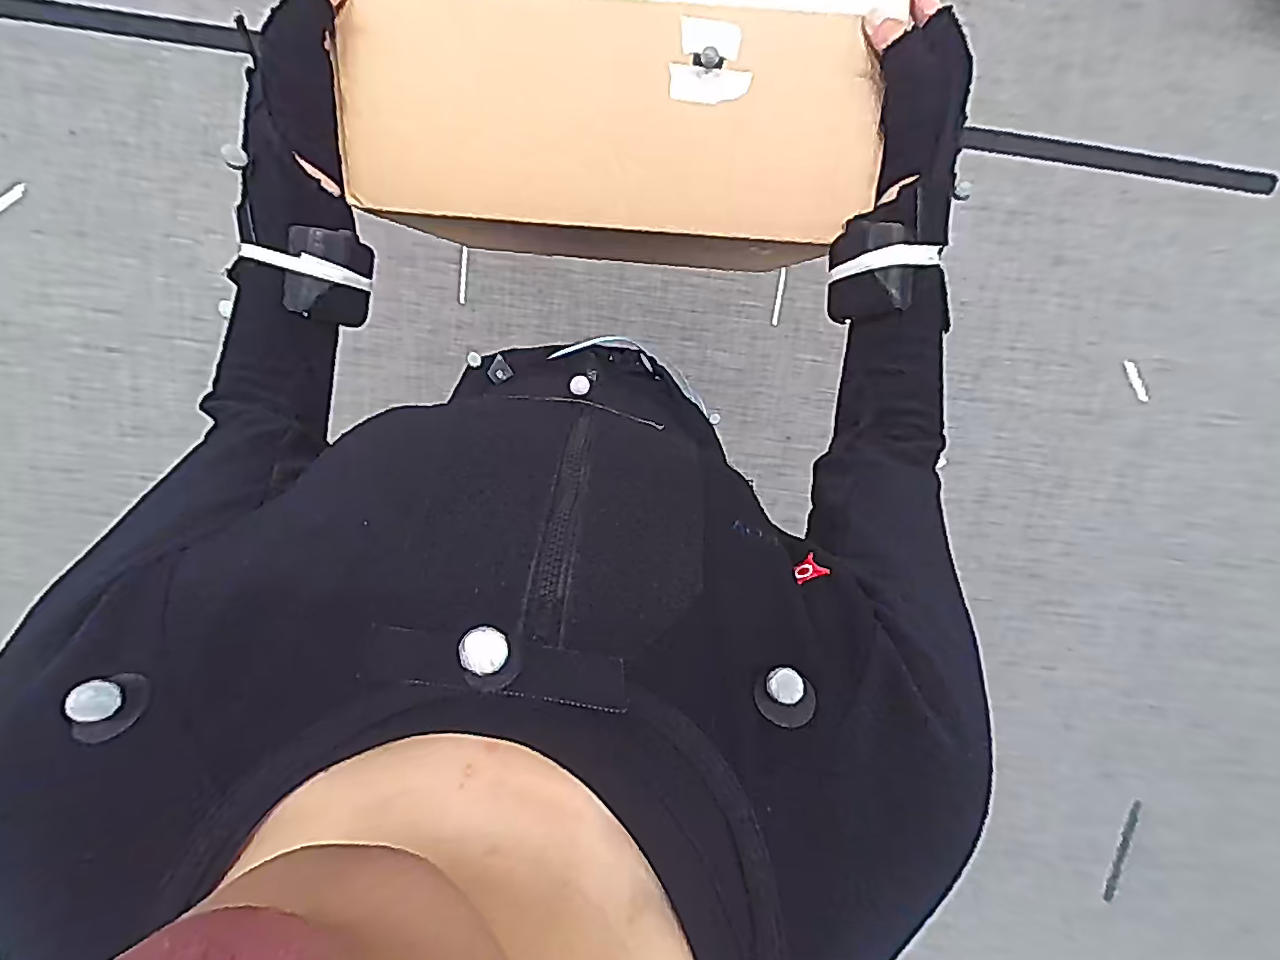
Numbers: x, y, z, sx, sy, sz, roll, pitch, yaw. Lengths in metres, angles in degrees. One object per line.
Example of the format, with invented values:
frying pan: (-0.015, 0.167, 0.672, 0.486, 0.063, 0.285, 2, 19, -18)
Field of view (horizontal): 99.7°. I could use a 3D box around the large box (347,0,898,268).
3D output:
large box: (-0.015, -0.394, 0.530, 0.408, 0.320, 0.320, 4, 109, -2)
